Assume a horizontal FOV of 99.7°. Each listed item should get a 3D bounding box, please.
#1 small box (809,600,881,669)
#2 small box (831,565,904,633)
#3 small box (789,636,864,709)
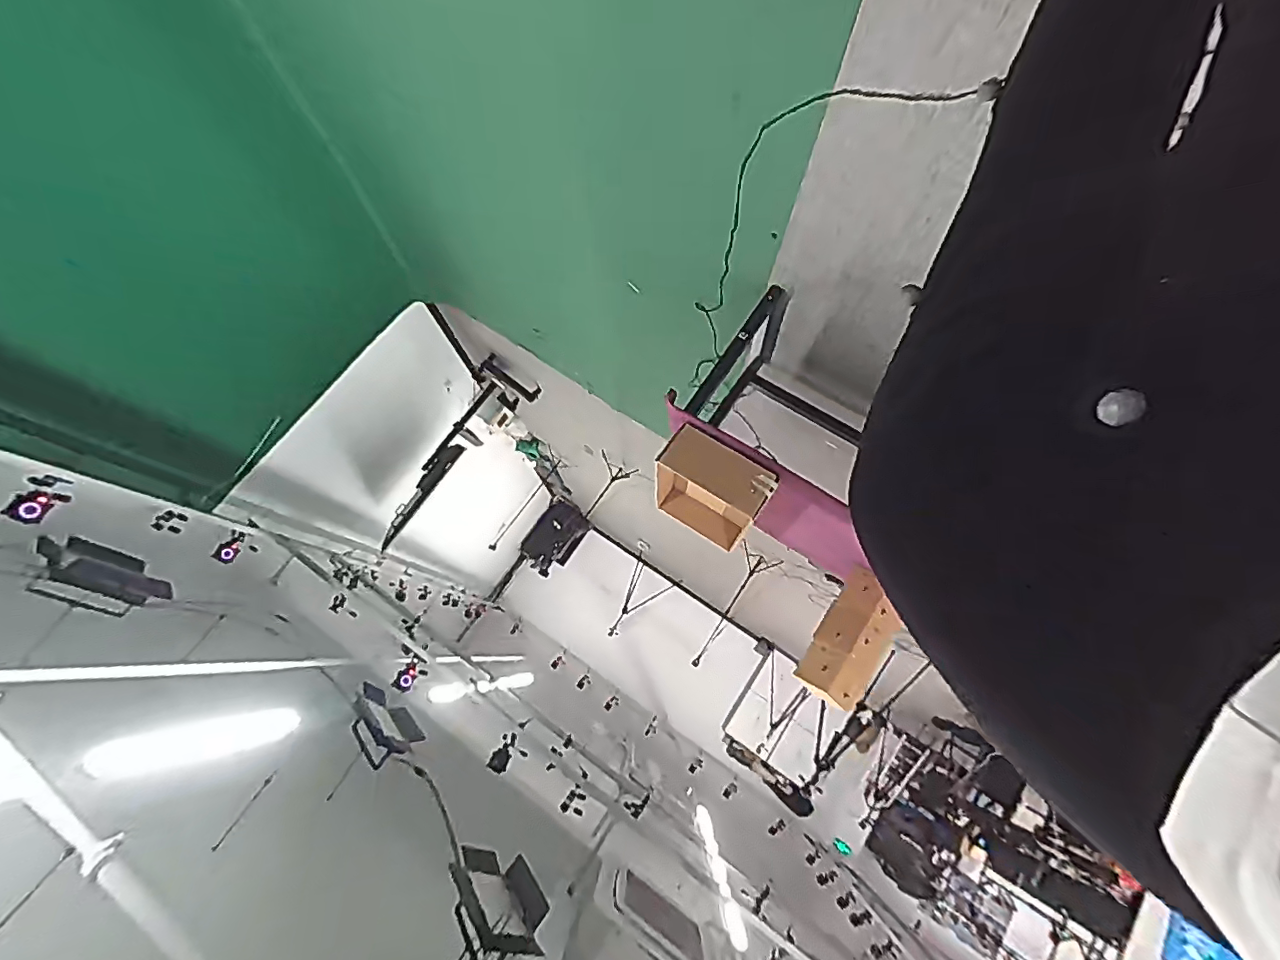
[{"bbox_3d":[0.783,0.578,2.048,0.168,0.176,0.179,45,163,-29],"label":"small box"},{"bbox_3d":[0.879,0.451,2.083,0.179,0.176,0.168,44,164,-29],"label":"small box"},{"bbox_3d":[0.696,0.708,2.009,0.179,0.176,0.168,44,163,-28],"label":"small box"}]
